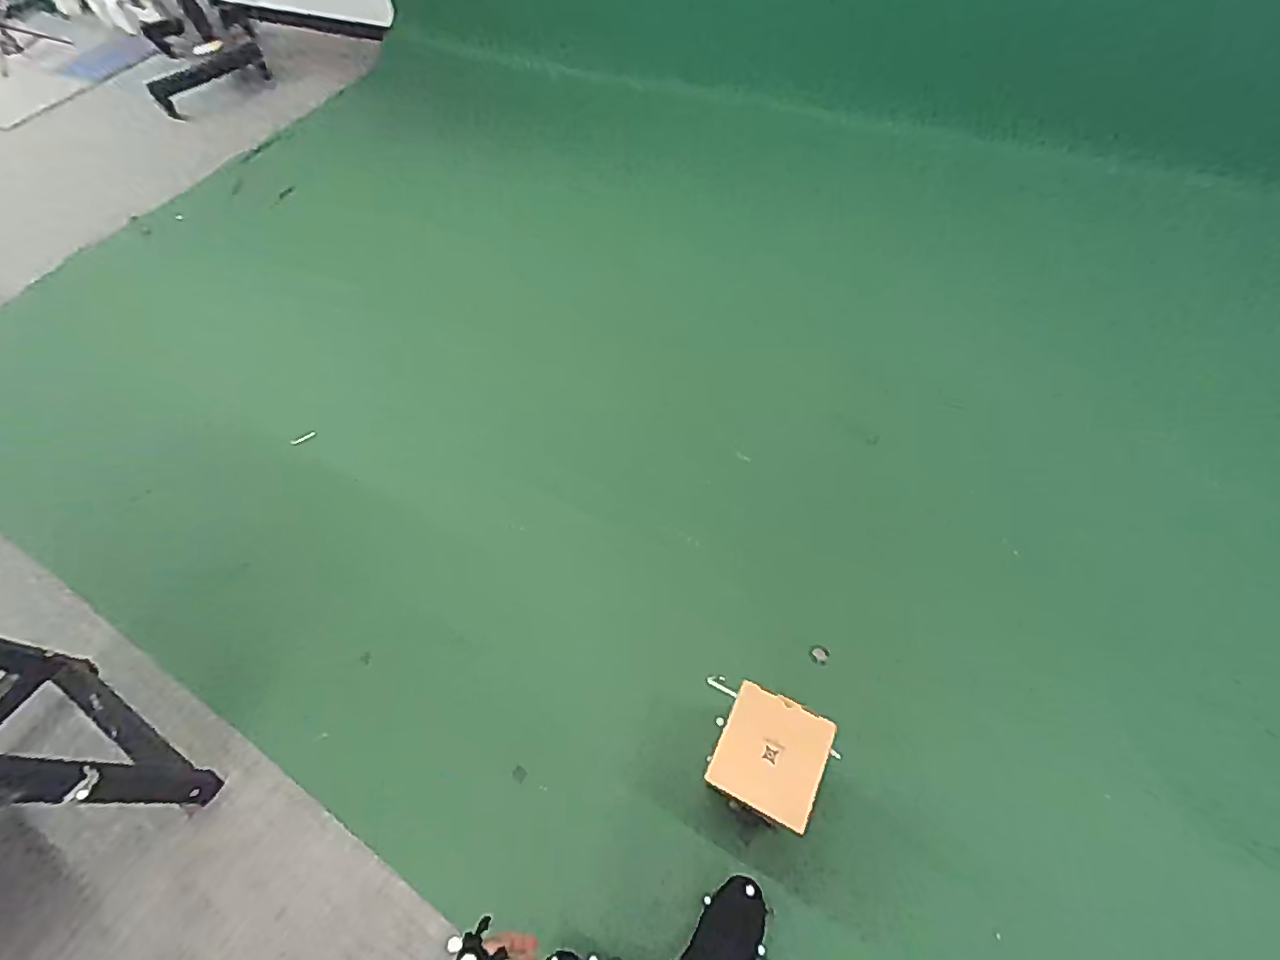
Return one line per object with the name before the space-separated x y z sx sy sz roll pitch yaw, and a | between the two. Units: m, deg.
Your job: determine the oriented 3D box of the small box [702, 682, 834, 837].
small box | 0.219 0.487 0.944 0.168 0.176 0.179 22 63 18
